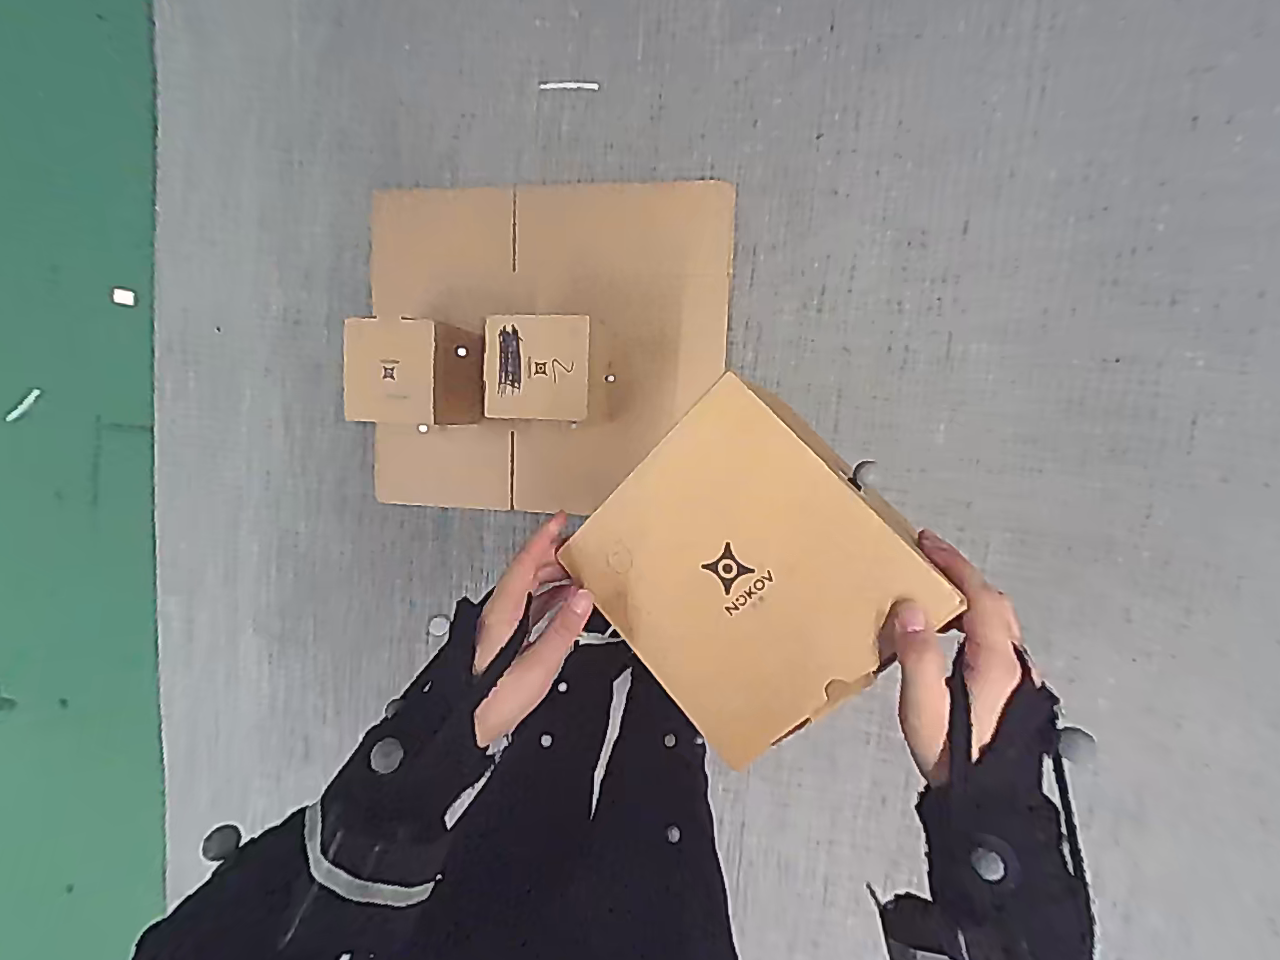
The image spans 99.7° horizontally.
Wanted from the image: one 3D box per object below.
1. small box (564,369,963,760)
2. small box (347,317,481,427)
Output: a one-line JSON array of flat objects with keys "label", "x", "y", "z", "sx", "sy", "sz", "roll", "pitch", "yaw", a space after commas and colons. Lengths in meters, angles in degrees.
[{"label": "small box", "x": 0.085, "y": 0.048, "z": 0.391, "sx": 0.179, "sy": 0.176, "sz": 0.168, "roll": 47, "pitch": 108, "yaw": 13}, {"label": "small box", "x": -0.399, "y": -0.188, "z": 0.975, "sx": 0.168, "sy": 0.176, "sz": 0.179, "roll": 4, "pitch": 97, "yaw": 9}]
